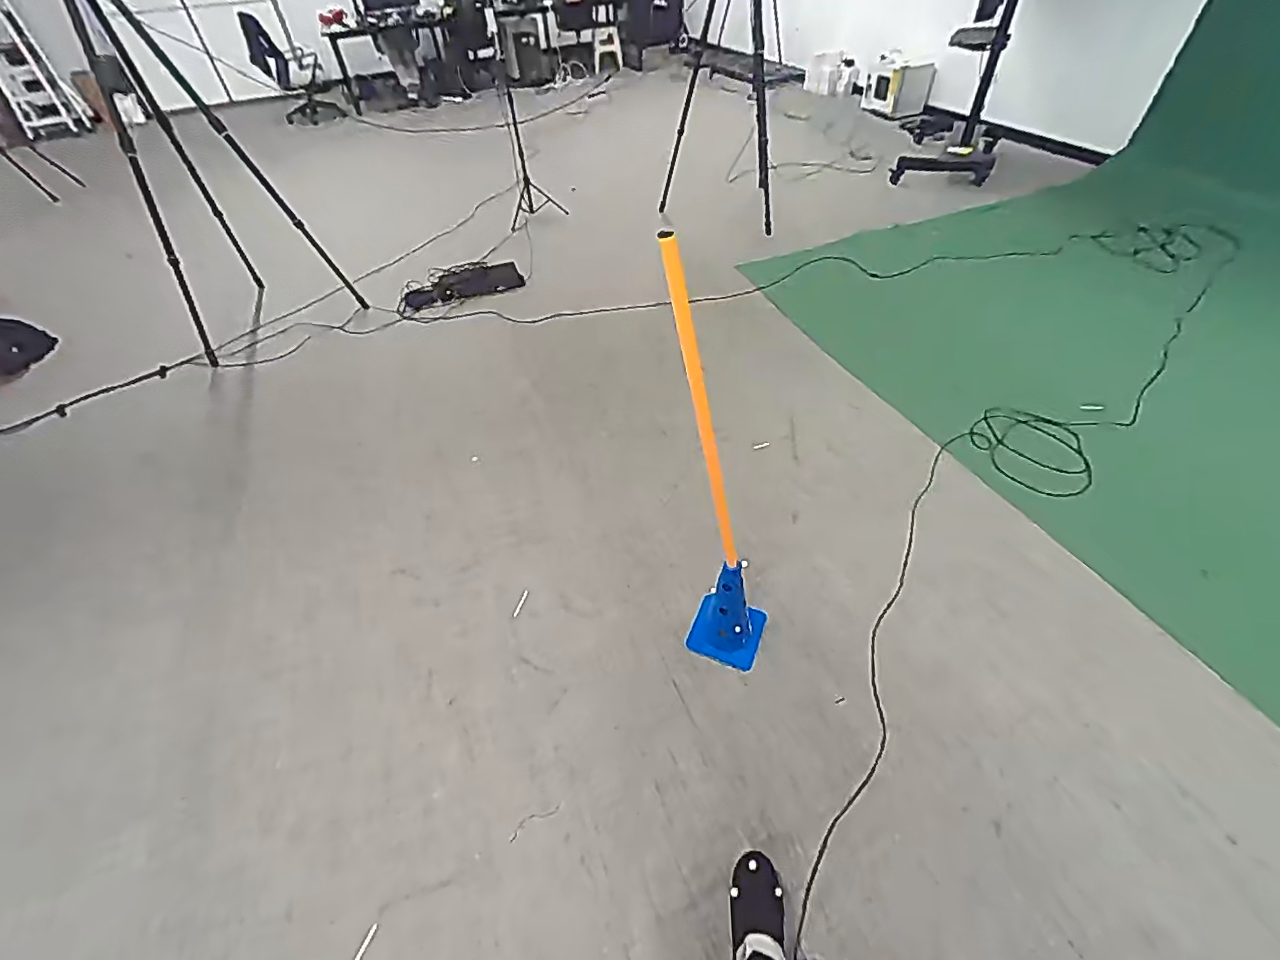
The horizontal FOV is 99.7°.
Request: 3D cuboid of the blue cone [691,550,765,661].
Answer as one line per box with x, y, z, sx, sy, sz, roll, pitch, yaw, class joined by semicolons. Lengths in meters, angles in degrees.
0.242;0.319;1.463;0.193;0.380;0.192;14;51;19;blue cone
